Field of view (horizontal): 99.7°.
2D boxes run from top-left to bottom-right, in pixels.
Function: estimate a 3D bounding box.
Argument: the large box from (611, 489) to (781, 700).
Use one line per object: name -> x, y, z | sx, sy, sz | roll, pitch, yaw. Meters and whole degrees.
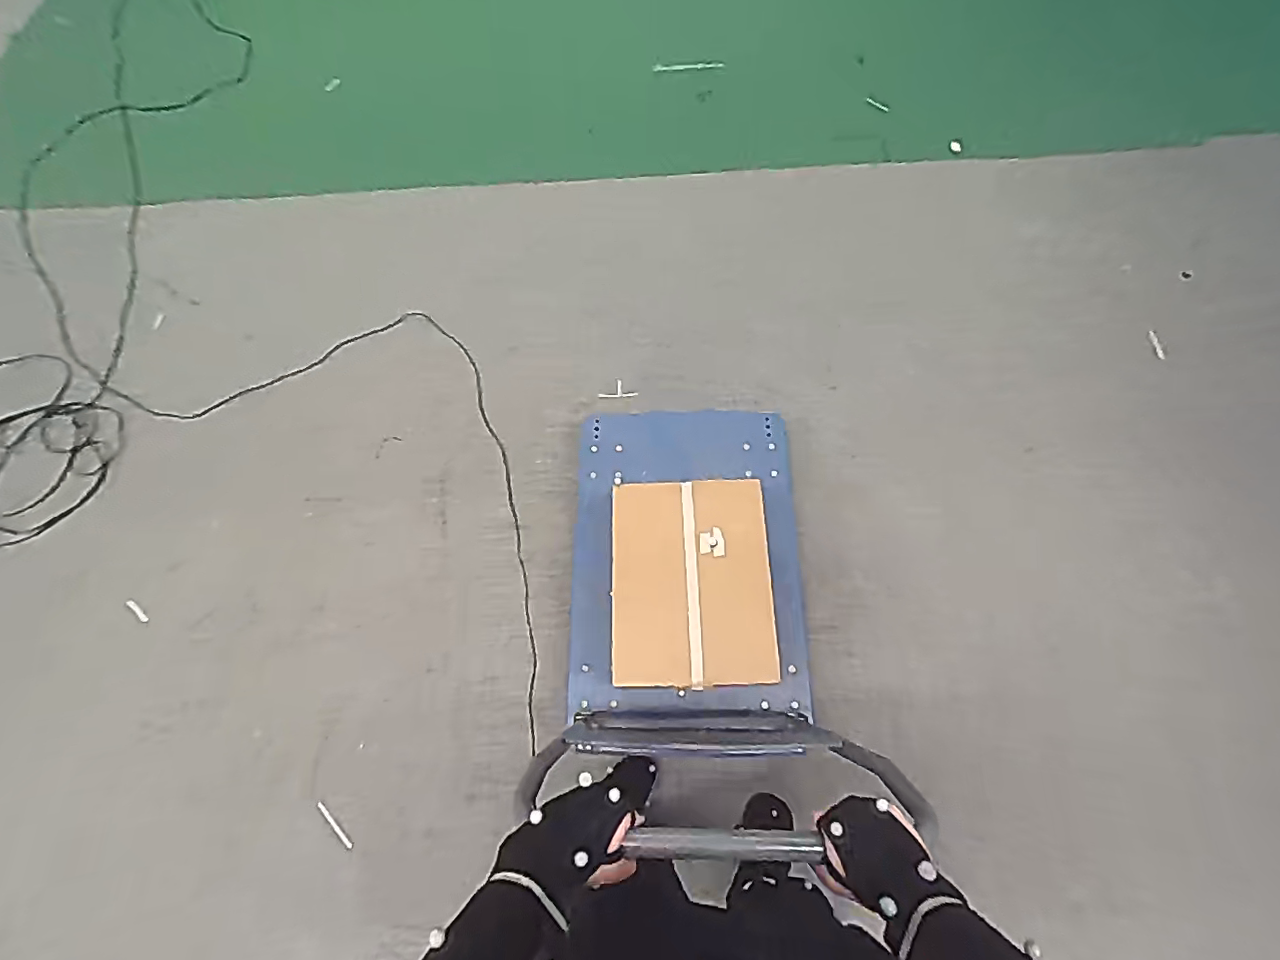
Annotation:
large box -> 0.109, 0.268, 1.210 | 0.320, 0.320, 0.408 | -2, 68, 2
